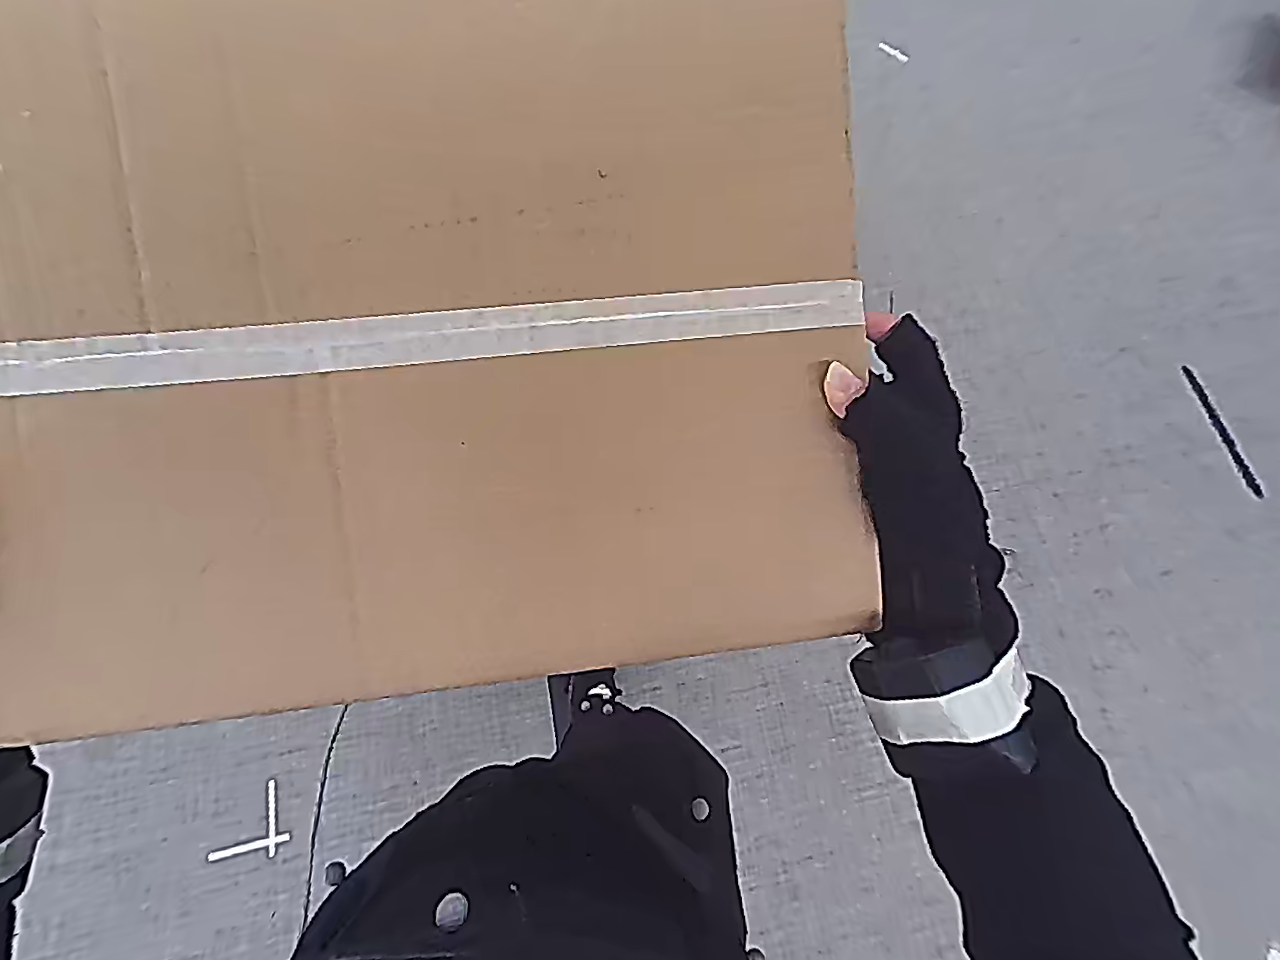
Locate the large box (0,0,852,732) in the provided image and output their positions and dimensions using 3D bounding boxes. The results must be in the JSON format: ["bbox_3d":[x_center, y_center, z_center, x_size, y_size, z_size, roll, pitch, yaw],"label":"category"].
[{"bbox_3d":[-0.114,-0.072,0.393,0.408,0.320,0.320,-6,94,-6],"label":"large box"}]
